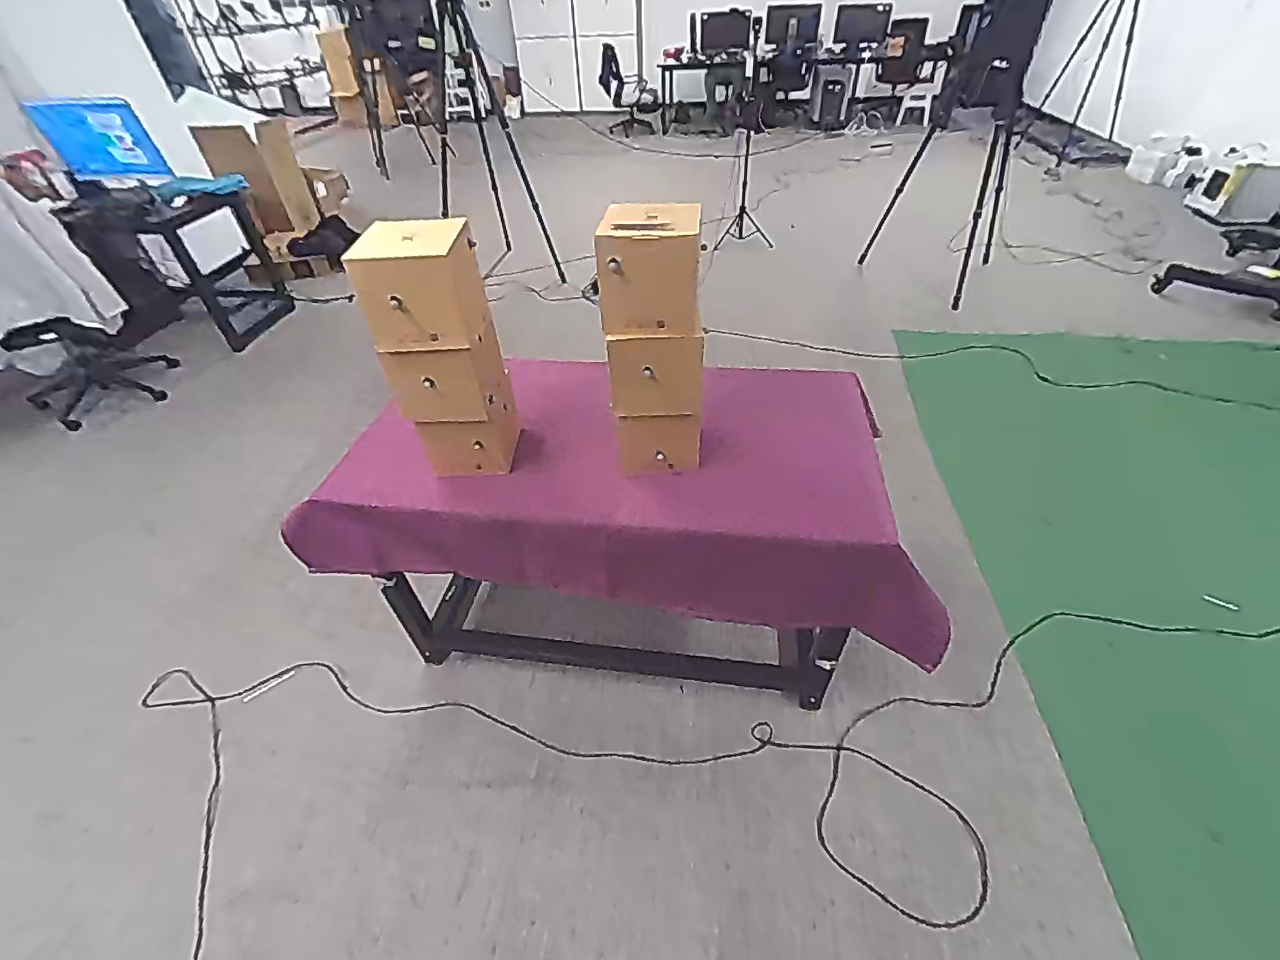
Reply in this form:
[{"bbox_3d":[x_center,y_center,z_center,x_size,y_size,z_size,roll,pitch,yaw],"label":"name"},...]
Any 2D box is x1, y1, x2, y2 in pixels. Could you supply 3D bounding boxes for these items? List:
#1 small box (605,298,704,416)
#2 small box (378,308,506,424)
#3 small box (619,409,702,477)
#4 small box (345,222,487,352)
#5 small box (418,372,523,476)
[{"bbox_3d":[0.032,-0.236,1.050,0.179,0.176,0.168,-2,43,2],"label":"small box"},{"bbox_3d":[-0.379,-0.224,1.074,0.179,0.176,0.168,-1,43,3],"label":"small box"},{"bbox_3d":[0.039,-0.129,1.175,0.168,0.176,0.179,-5,42,-1],"label":"small box"},{"bbox_3d":[-0.379,-0.336,0.956,0.168,0.176,0.179,-3,42,0],"label":"small box"},{"bbox_3d":[-0.366,-0.121,1.203,0.168,0.176,0.179,0,42,3],"label":"small box"}]
